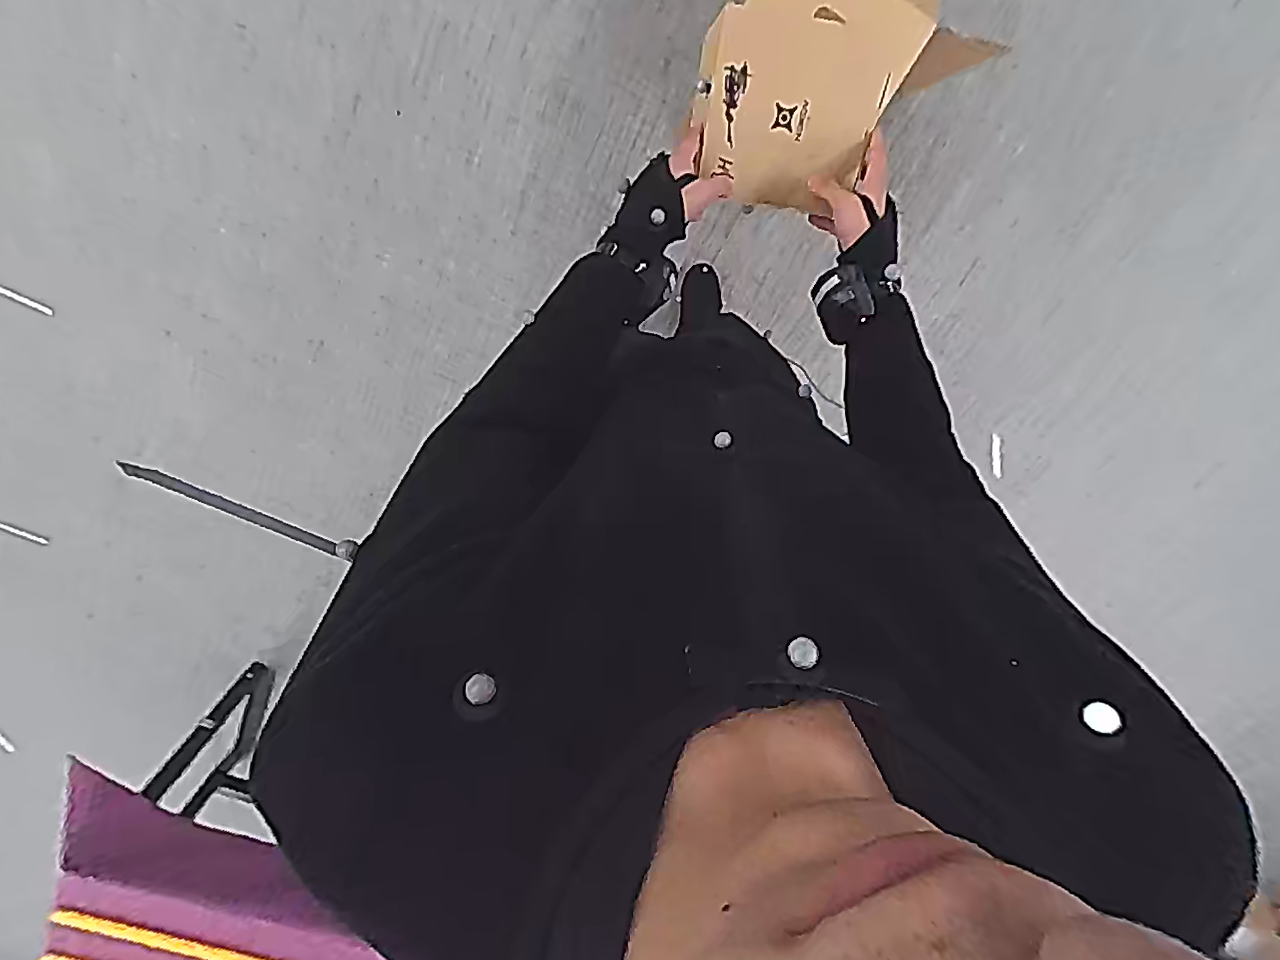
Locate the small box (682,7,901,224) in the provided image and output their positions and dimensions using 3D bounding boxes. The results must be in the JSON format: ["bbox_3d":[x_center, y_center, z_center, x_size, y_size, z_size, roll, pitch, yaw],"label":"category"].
[{"bbox_3d":[0.153,-0.406,0.618,0.179,0.176,0.168,6,122,-5],"label":"small box"}]
